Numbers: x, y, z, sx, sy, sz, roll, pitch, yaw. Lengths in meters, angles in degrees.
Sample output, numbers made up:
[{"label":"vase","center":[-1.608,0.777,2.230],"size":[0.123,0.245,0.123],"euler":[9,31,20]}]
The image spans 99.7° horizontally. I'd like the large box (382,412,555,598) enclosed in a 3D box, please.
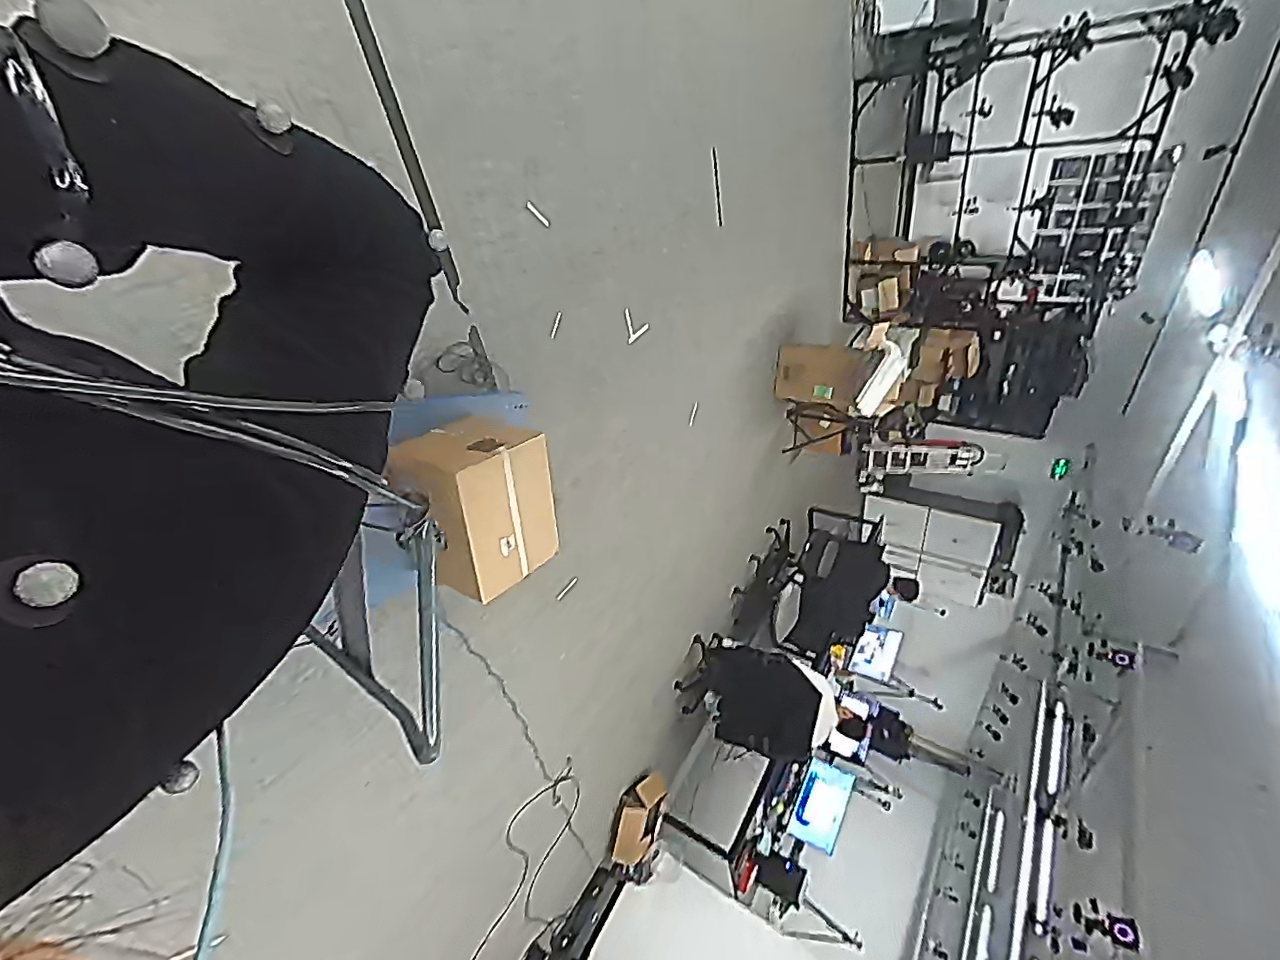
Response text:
[{"label":"large box","center":[-0.480,0.057,1.564],"size":[0.320,0.320,0.408],"euler":[-33,130,-47]}]
